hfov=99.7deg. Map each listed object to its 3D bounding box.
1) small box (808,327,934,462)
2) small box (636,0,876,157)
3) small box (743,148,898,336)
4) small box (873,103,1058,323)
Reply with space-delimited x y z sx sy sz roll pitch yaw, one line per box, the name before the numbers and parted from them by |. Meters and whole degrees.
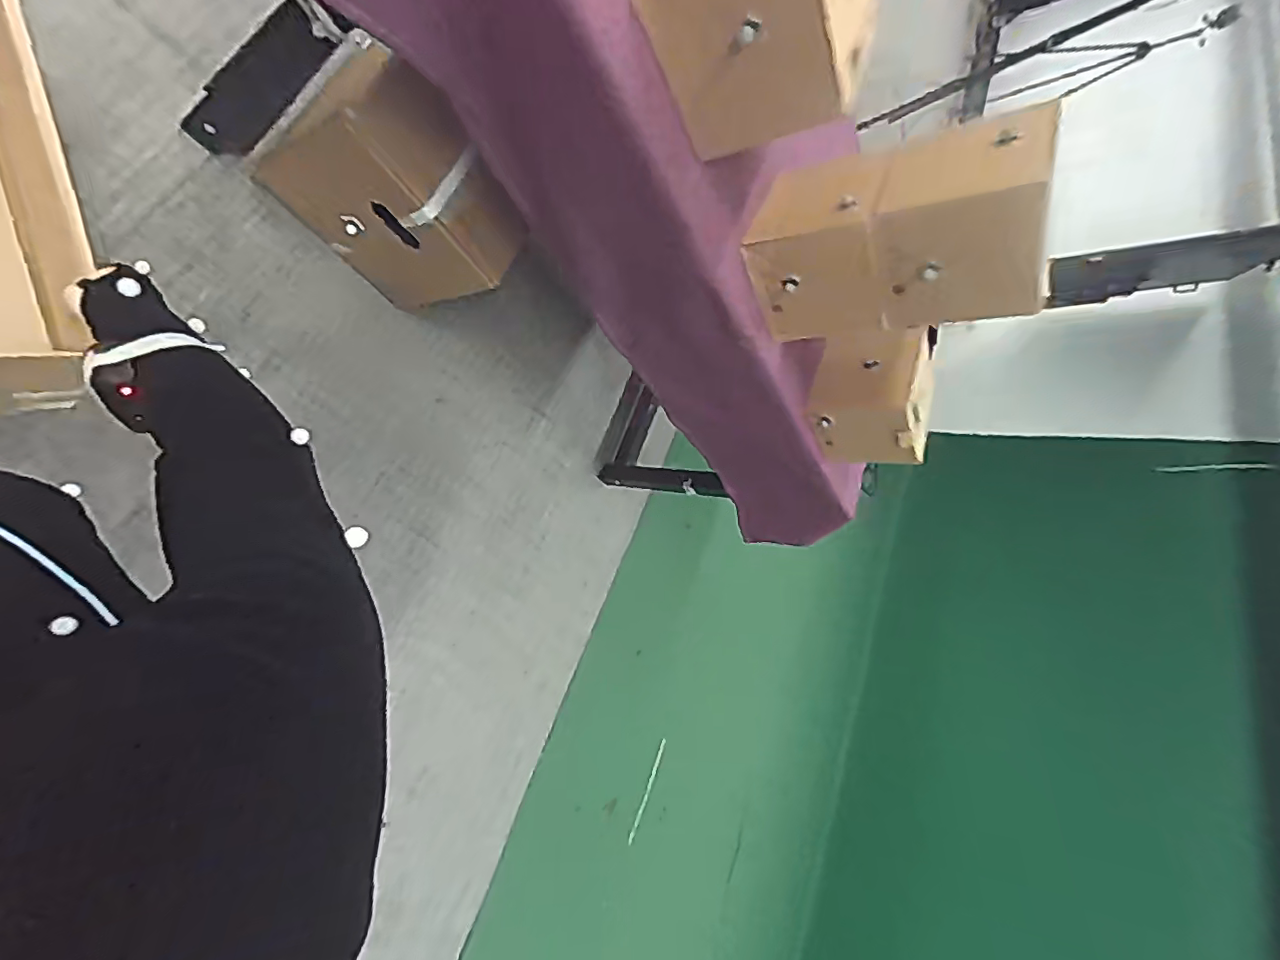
small box | 0.420 -0.151 0.986 0.168 0.176 0.179 47 58 -45
small box | 0.122 -0.474 0.551 0.179 0.176 0.168 47 59 -44
small box | 0.266 -0.325 0.765 0.168 0.176 0.179 52 55 -42
small box | 0.400 -0.317 0.669 0.168 0.176 0.179 53 54 -41
